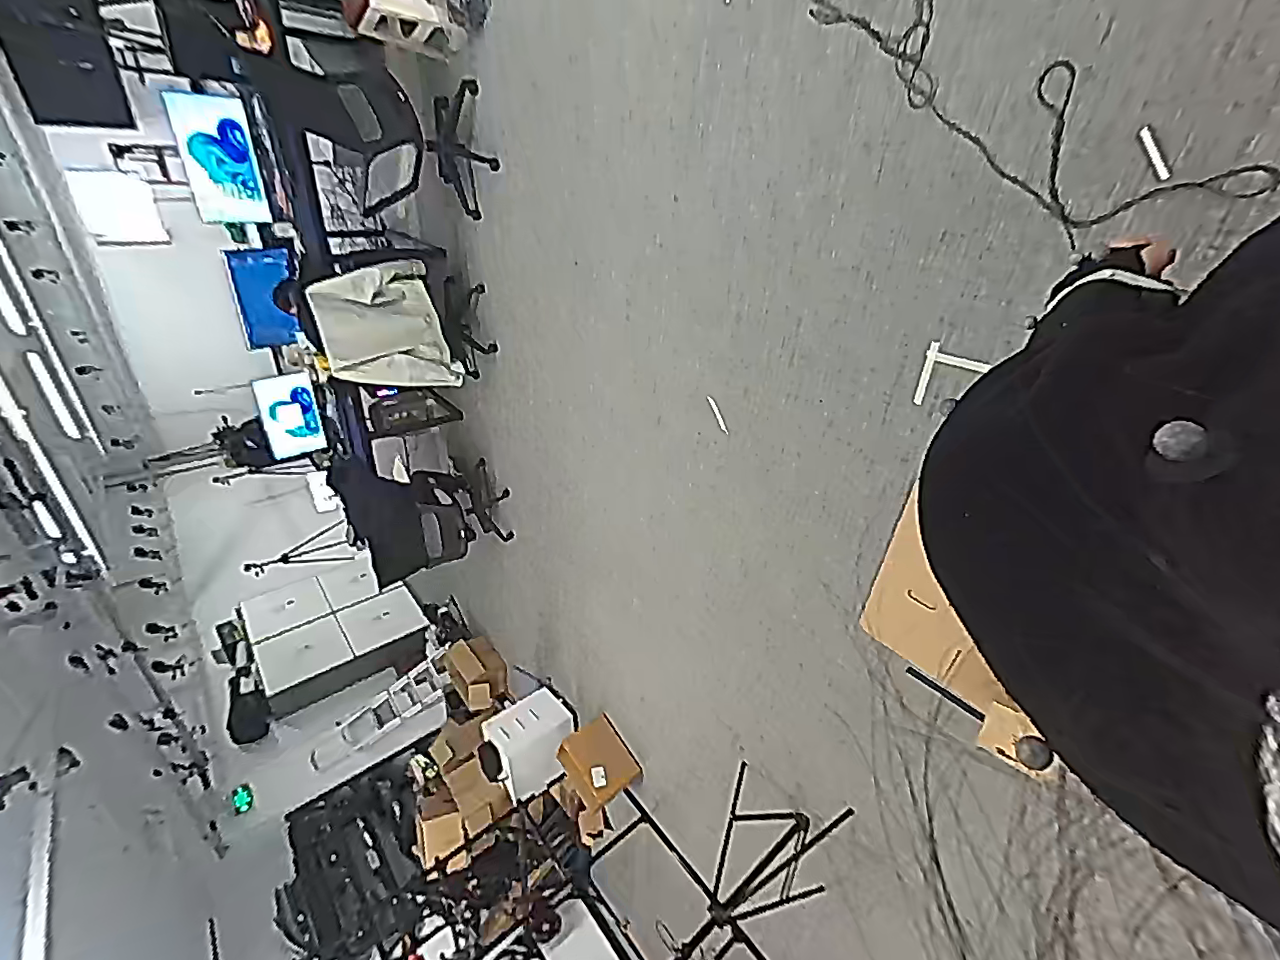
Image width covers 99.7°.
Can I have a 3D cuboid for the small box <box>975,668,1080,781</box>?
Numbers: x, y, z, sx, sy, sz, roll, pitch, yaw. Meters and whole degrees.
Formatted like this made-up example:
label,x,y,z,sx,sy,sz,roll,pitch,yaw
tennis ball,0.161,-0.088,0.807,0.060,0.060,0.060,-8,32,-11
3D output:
label,x,y,z,sx,sy,sz,roll,pitch,yaw
small box,1.025,0.634,1.427,0.168,0.176,0.179,27,127,43
